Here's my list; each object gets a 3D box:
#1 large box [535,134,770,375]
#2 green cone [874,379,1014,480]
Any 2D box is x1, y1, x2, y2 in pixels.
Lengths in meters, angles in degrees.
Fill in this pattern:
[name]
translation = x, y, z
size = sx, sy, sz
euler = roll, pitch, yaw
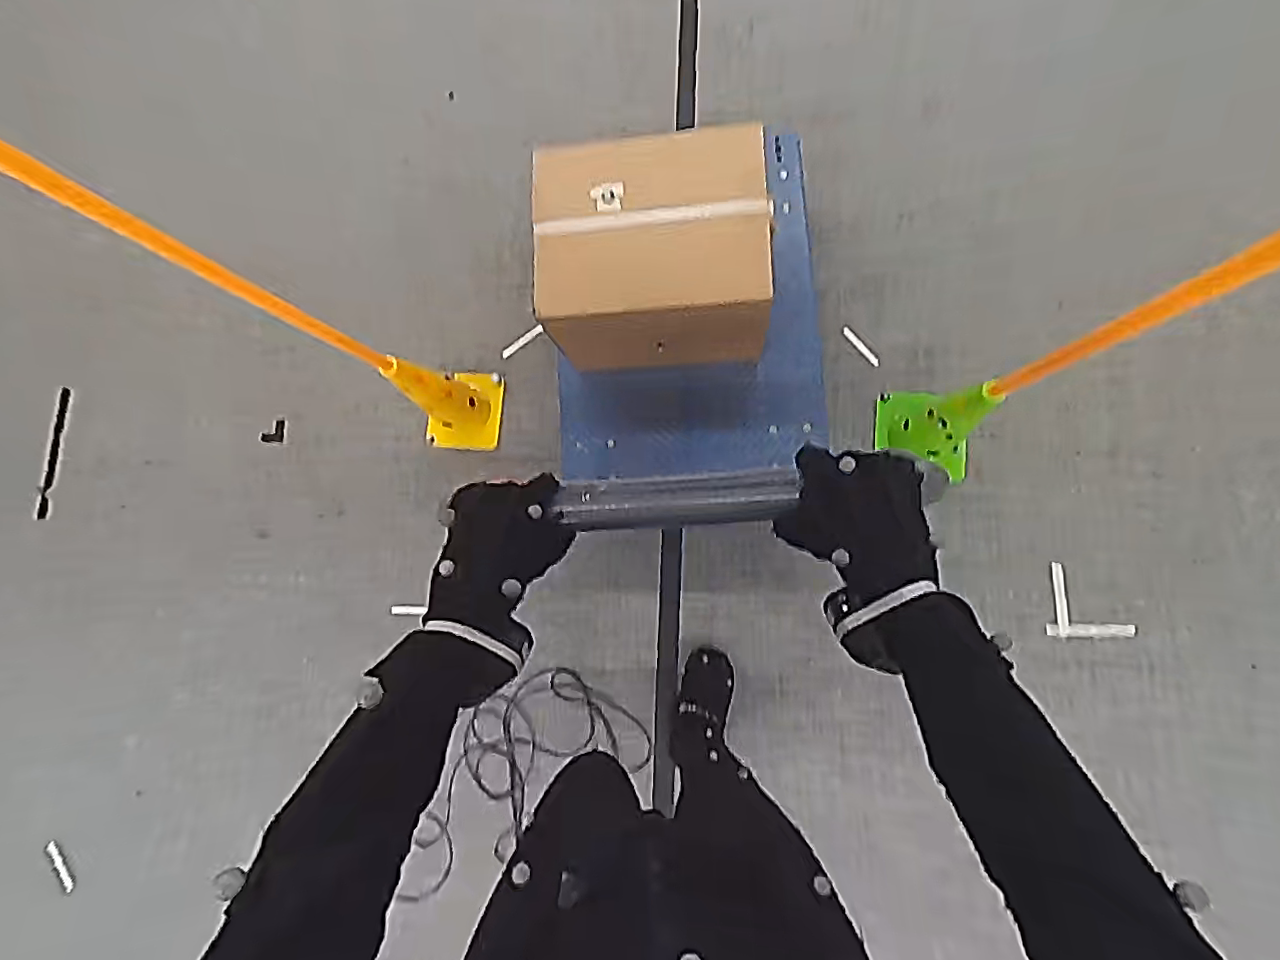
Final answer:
[large box]
translation = 0.036, -0.411, 1.076
size = 0.408, 0.320, 0.320
euler = -3, 83, 9
[green cone]
translation = 0.633, -0.126, 1.095
size = 0.202, 0.368, 0.200
euler = 4, 83, 8
